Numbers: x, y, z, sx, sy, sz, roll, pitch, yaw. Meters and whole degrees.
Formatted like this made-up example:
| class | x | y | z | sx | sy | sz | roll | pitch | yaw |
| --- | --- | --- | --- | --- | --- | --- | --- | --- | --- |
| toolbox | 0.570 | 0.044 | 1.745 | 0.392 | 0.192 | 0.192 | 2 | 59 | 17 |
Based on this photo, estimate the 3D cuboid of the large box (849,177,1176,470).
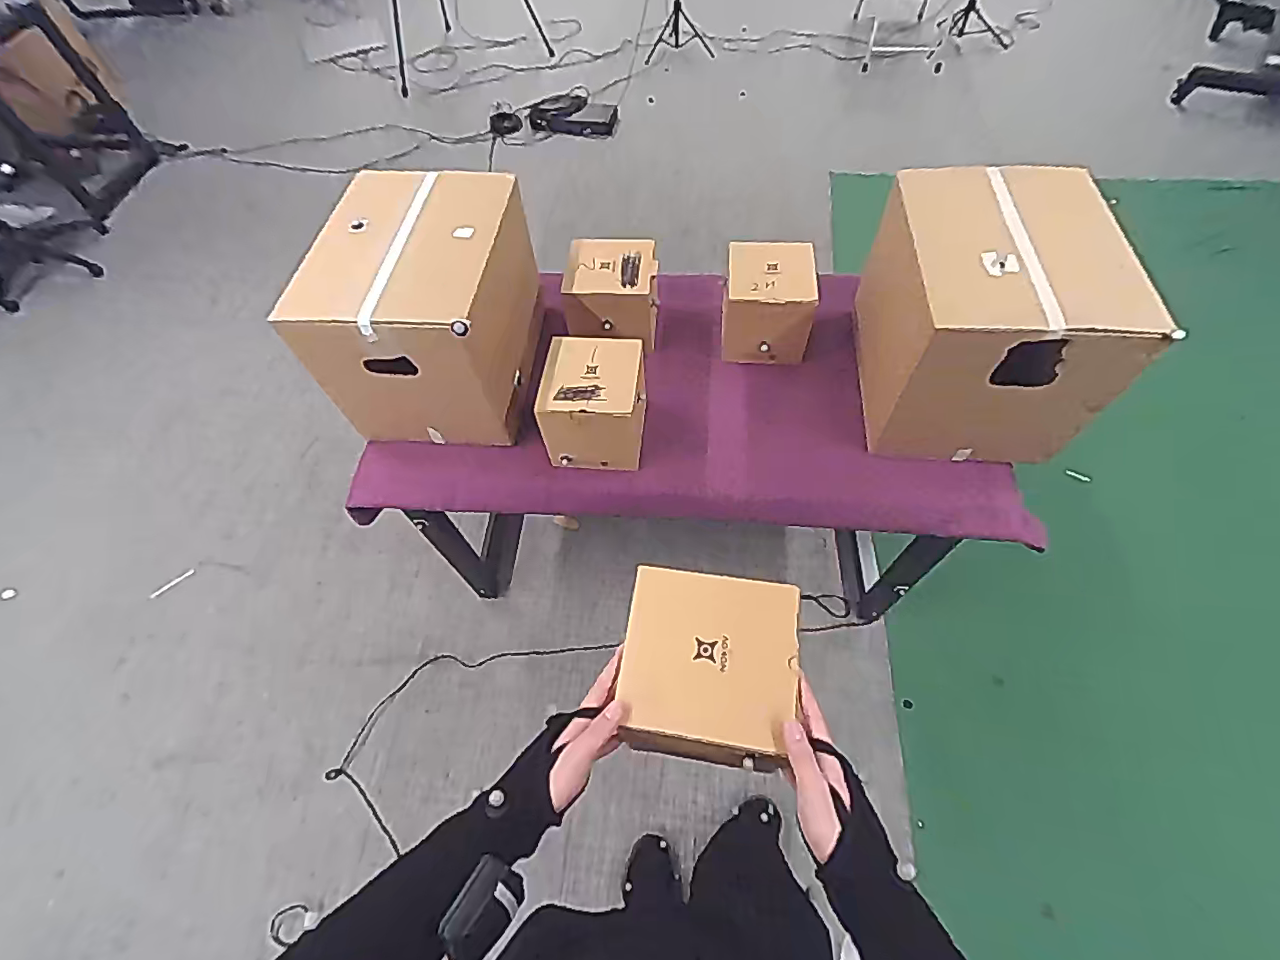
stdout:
| class | x | y | z | sx | sy | sz | roll | pitch | yaw |
| --- | --- | --- | --- | --- | --- | --- | --- | --- | --- |
| large box | 0.587 | -0.272 | 0.958 | 0.320 | 0.320 | 0.408 | 3 | 59 | 7 |

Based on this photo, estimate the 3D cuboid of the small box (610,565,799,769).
| class | x | y | z | sx | sy | sz | roll | pitch | yaw |
| --- | --- | --- | --- | --- | --- | --- | --- | --- | --- |
| small box | 0.073 | 0.214 | 0.606 | 0.179 | 0.176 | 0.168 | 7 | 57 | 7 |

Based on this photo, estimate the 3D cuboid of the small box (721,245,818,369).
| class | x | y | z | sx | sy | sz | roll | pitch | yaw |
| --- | --- | --- | --- | --- | --- | --- | --- | --- | --- |
| small box | 0.256 | -0.353 | 1.106 | 0.168 | 0.176 | 0.179 | 4 | 59 | 5 |
